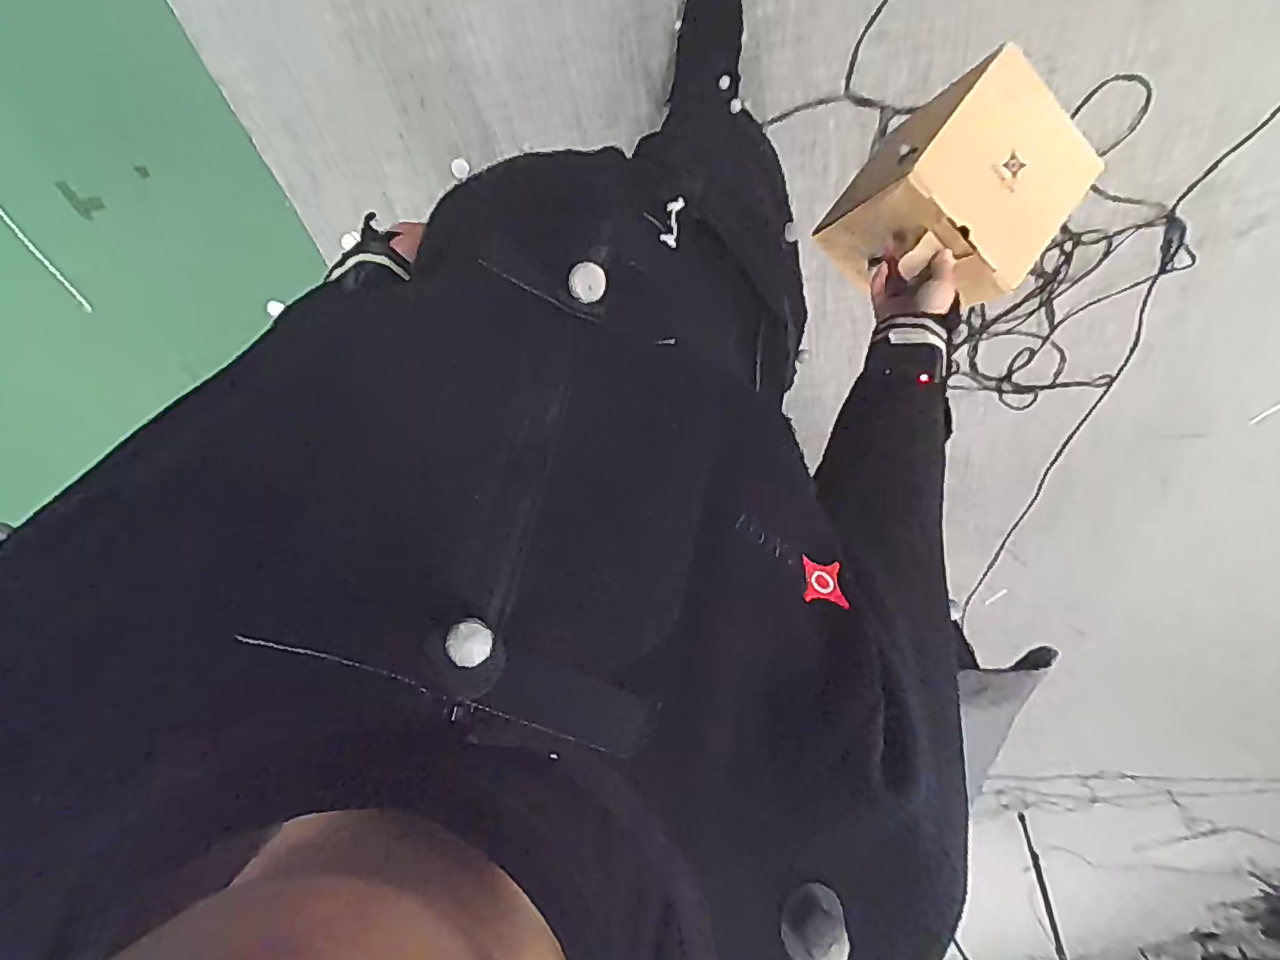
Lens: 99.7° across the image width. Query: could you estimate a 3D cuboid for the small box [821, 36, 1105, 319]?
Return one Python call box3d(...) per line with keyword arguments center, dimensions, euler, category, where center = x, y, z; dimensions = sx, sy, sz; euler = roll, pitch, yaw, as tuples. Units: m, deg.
box3d(center=(0.336, -0.306, 0.591), dimensions=(0.168, 0.176, 0.179), euler=(38, 85, -14), category="small box")
